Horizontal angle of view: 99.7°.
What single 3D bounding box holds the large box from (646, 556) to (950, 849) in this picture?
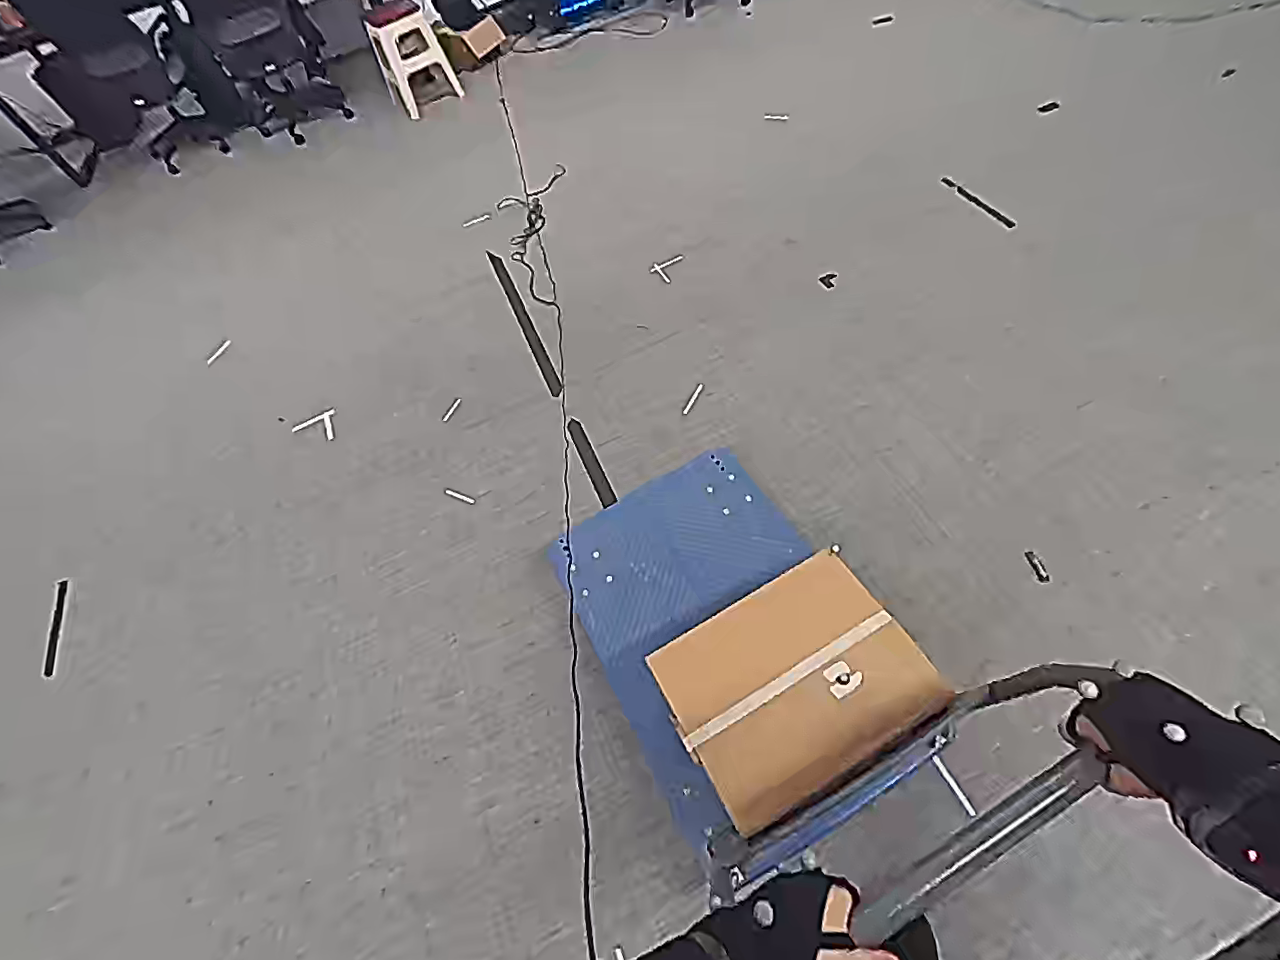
[{"bbox_3d":[0.271,0.421,1.020,0.408,0.320,0.320,-29,58,-9],"label":"large box"}]
